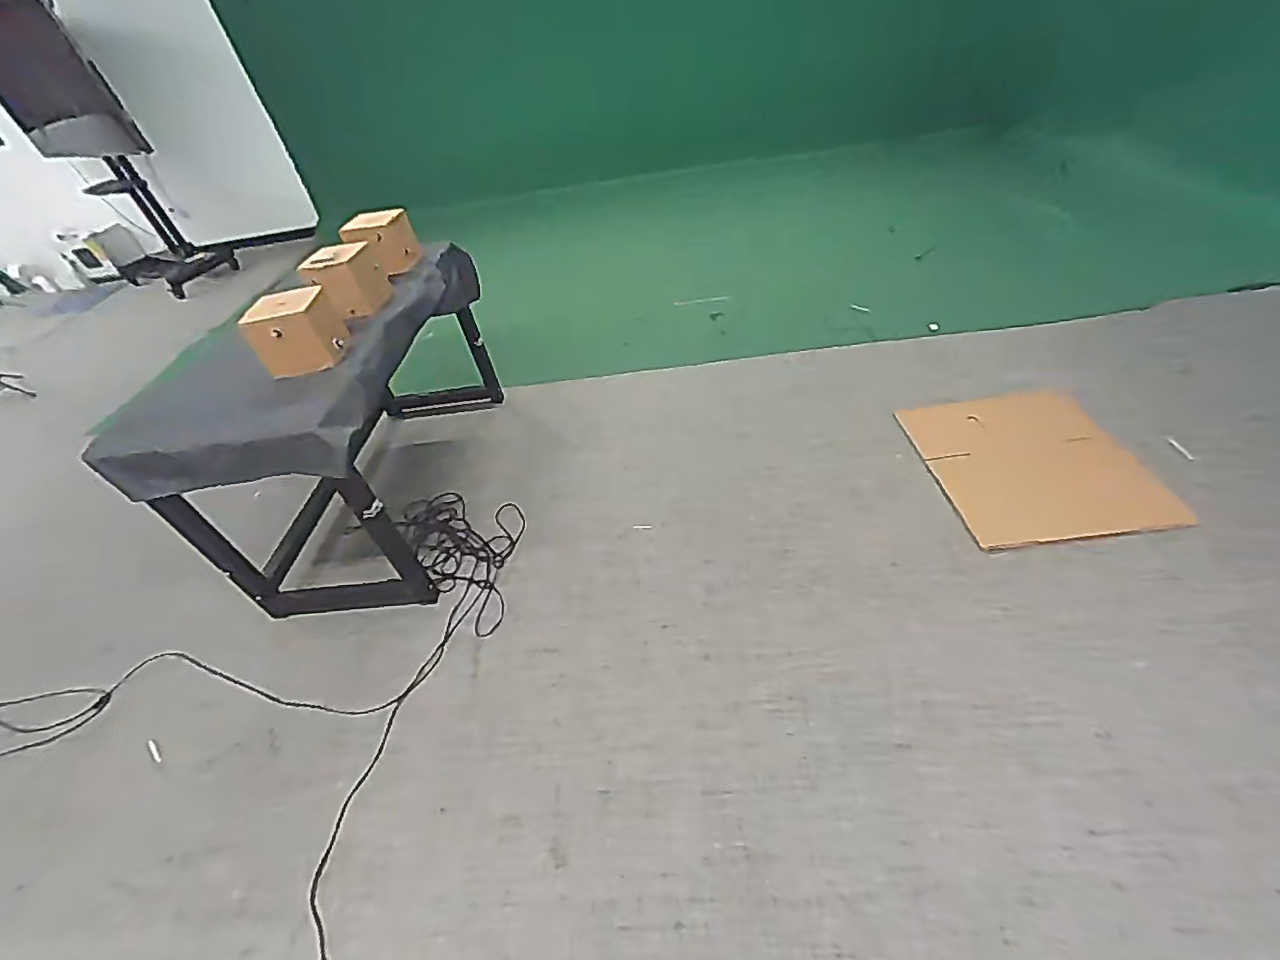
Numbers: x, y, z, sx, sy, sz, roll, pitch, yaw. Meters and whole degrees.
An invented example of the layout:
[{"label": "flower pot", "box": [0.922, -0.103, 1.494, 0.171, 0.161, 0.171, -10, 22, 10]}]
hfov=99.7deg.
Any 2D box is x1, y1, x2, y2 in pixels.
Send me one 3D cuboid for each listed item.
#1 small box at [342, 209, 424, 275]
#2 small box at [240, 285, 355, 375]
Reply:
[{"label": "small box", "box": [-0.913, -0.848, 1.935, 0.179, 0.176, 0.168, -3, 44, 9]}, {"label": "small box", "box": [-0.914, -0.401, 1.461, 0.179, 0.176, 0.168, -11, 44, 0]}]
